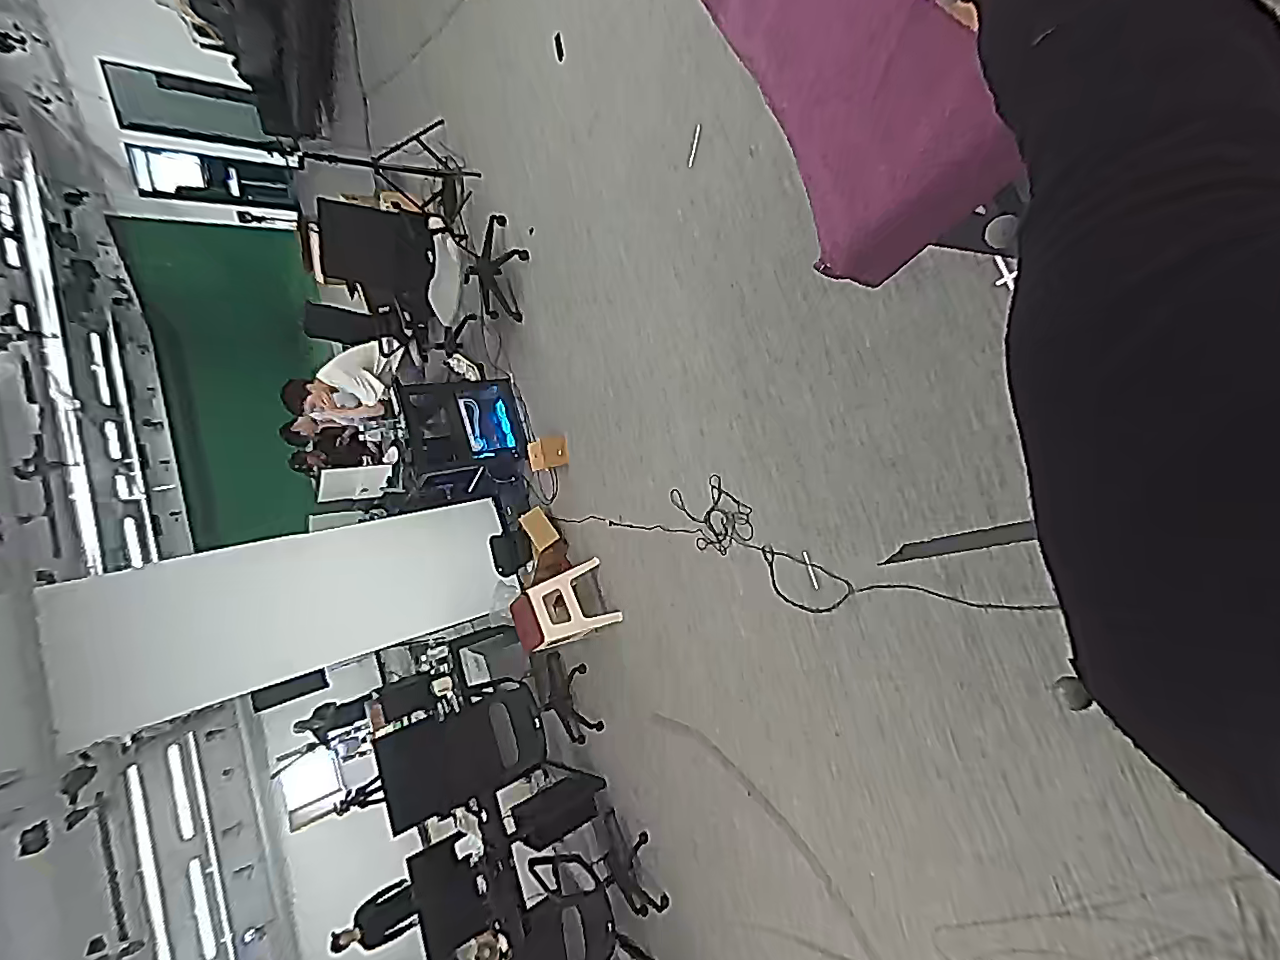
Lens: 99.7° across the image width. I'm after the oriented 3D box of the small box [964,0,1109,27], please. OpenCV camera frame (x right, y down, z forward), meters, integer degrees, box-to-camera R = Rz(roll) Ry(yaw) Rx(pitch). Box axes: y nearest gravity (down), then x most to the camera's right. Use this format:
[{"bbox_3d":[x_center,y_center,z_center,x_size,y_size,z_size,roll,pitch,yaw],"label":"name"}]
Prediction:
[{"bbox_3d":[0.405,-0.580,0.513,0.168,0.176,0.179,30,123,48],"label":"small box"}]
